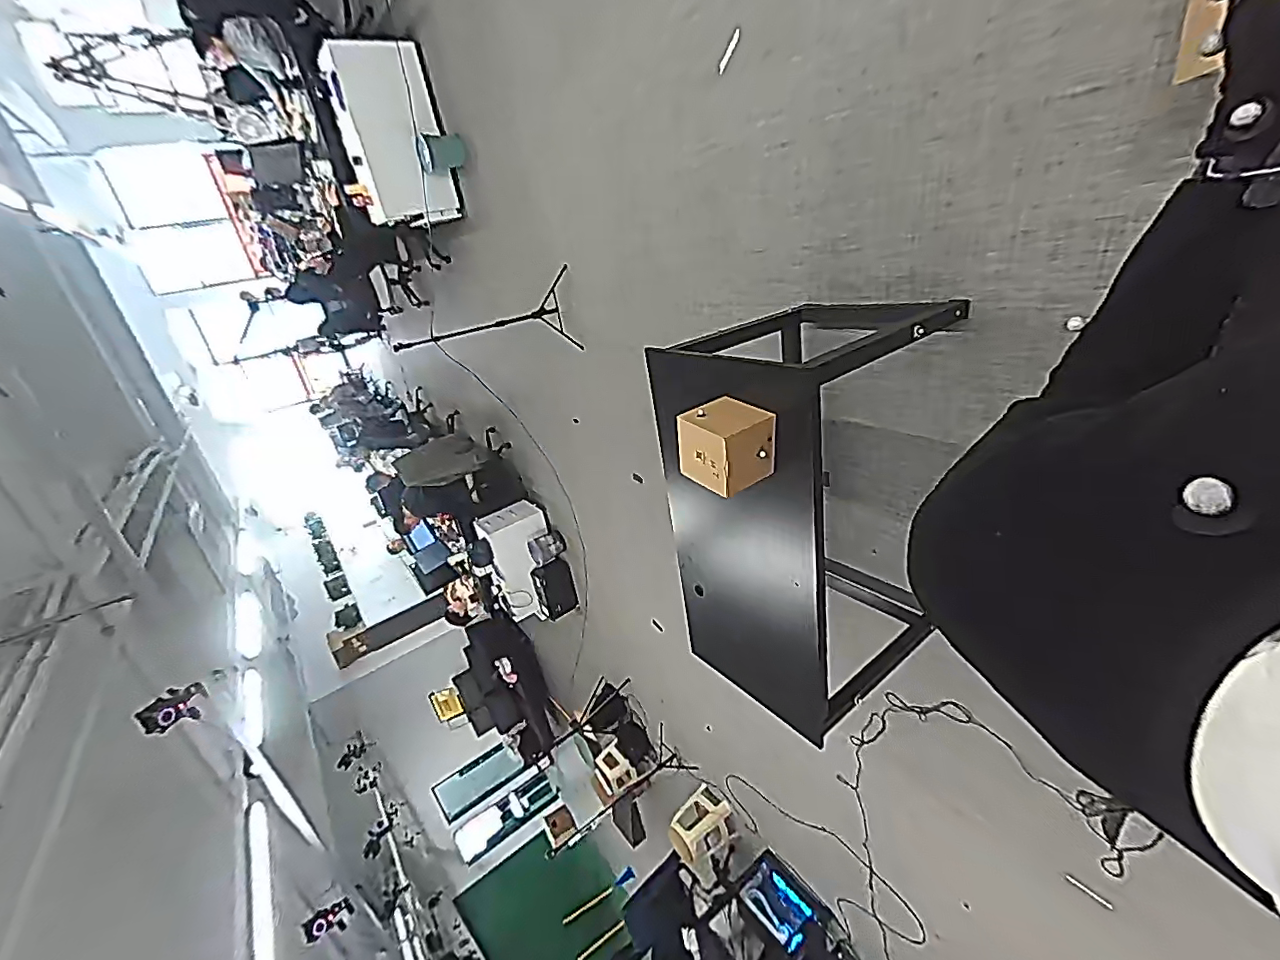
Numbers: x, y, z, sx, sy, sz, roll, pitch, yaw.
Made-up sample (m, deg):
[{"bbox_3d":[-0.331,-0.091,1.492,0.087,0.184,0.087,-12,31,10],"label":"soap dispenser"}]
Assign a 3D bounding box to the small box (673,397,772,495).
[{"bbox_3d":[0.204,-0.093,1.345,0.179,0.176,0.168,32,139,45],"label":"small box"}]
